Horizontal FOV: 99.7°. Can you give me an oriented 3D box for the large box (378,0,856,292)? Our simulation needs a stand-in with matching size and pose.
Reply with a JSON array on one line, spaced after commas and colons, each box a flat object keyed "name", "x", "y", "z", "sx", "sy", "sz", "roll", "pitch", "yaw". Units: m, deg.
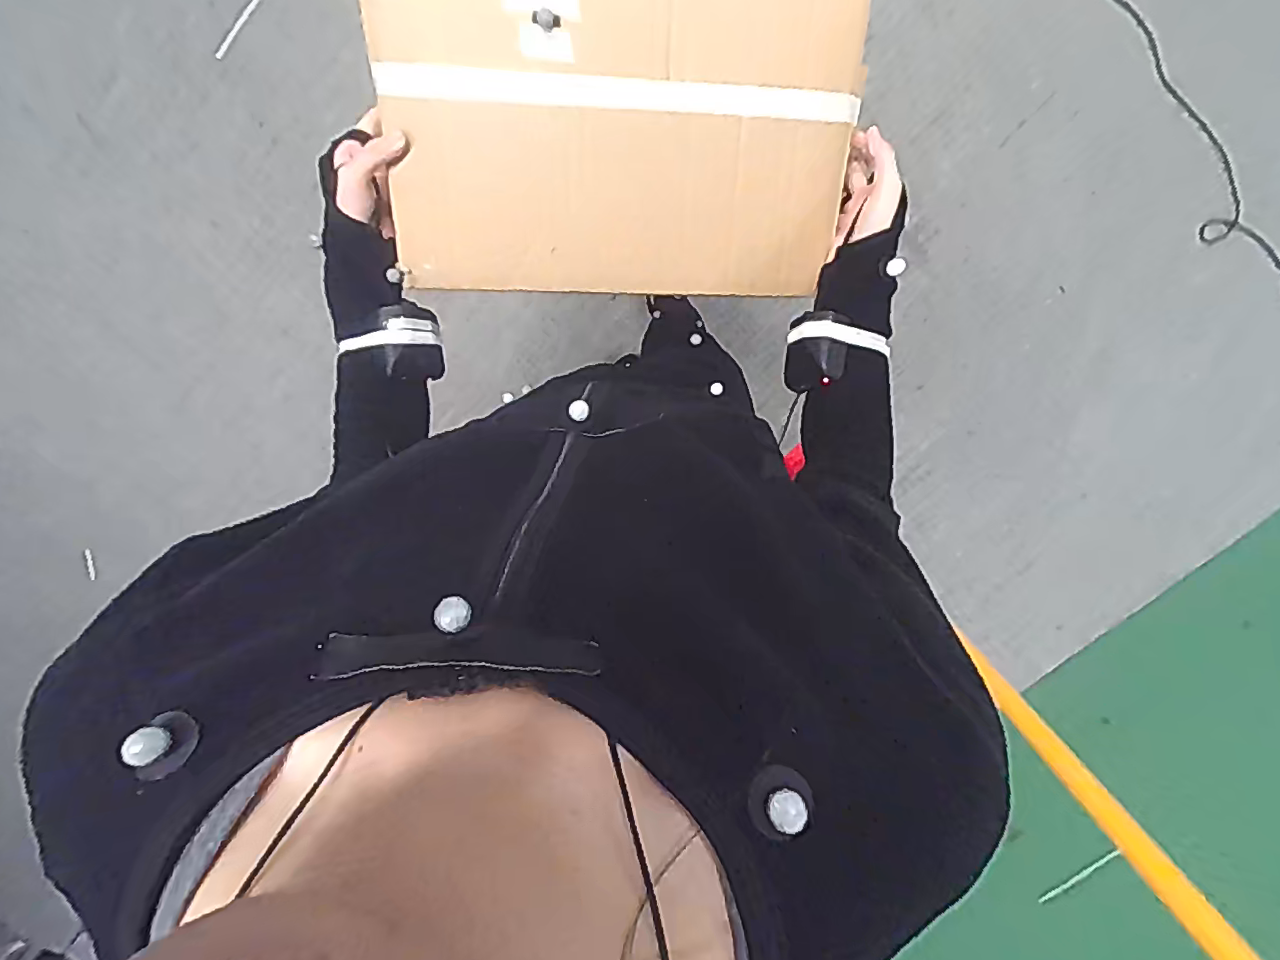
[{"name": "large box", "x": -0.029, "y": -0.390, "z": 0.609, "sx": 0.408, "sy": 0.320, "sz": 0.320, "roll": -1, "pitch": 112, "yaw": -7}]
